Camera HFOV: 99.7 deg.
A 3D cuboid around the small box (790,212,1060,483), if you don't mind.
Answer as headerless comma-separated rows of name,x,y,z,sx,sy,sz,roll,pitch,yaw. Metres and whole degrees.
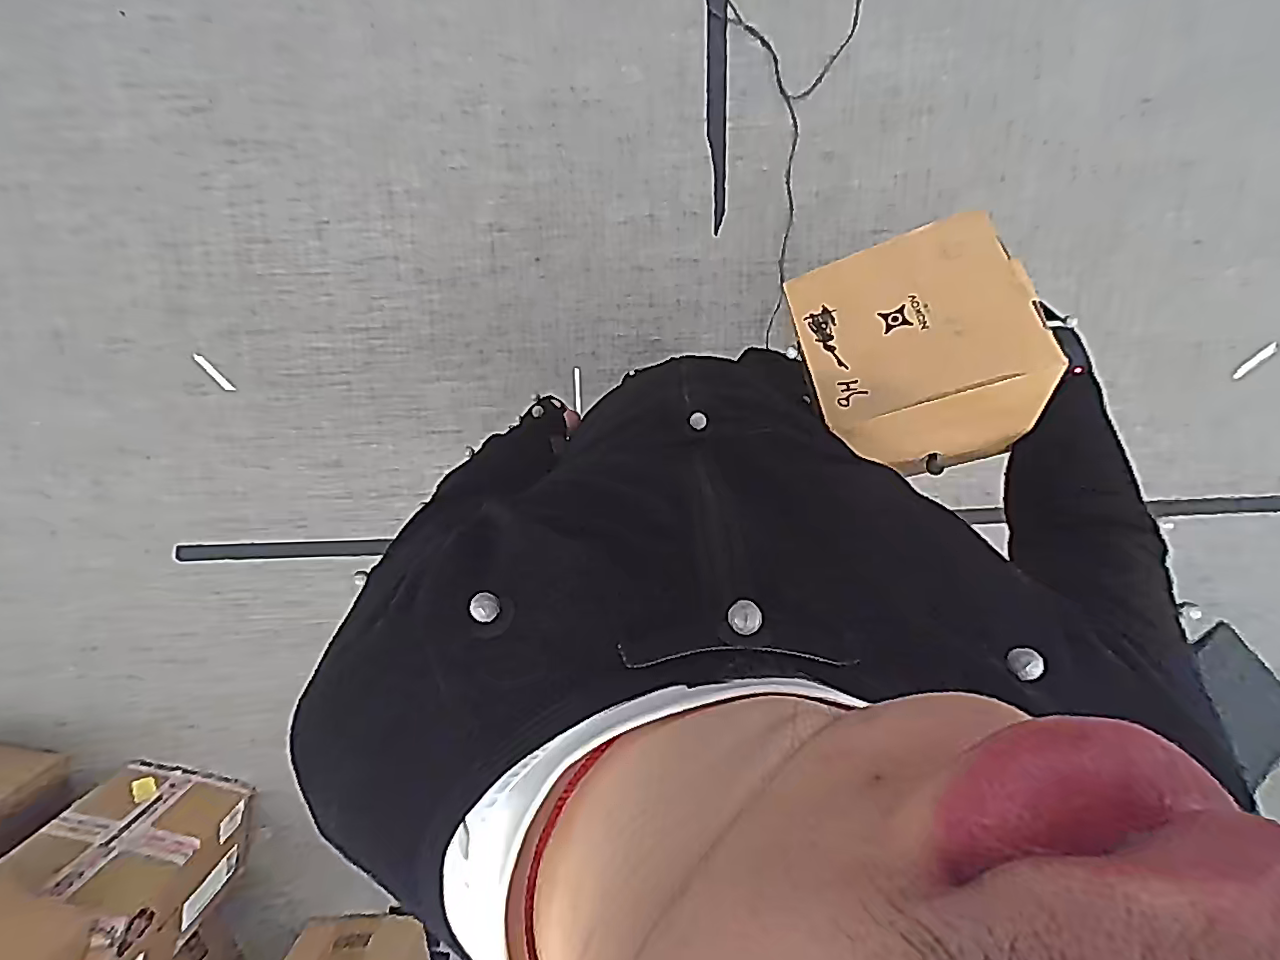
small box,0.263,-0.115,0.537,0.179,0.176,0.168,-16,62,18
